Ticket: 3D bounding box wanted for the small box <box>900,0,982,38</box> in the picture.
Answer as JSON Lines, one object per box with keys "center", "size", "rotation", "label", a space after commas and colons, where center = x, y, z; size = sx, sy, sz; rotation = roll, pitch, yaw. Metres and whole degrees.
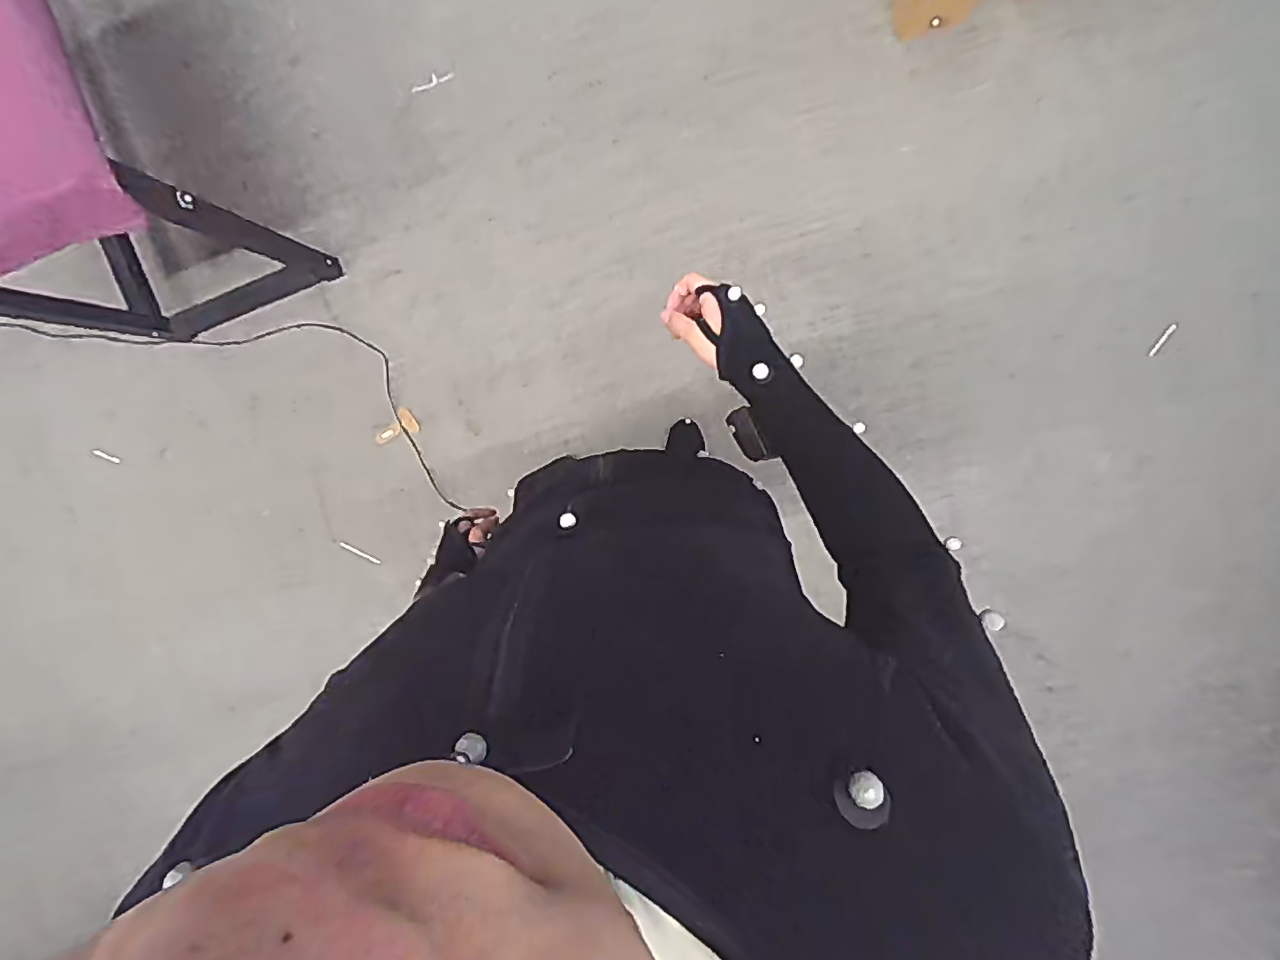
{"center": [0.745, -1.244, 1.317], "size": [0.168, 0.176, 0.179], "rotation": [-14, 97, 7], "label": "small box"}
